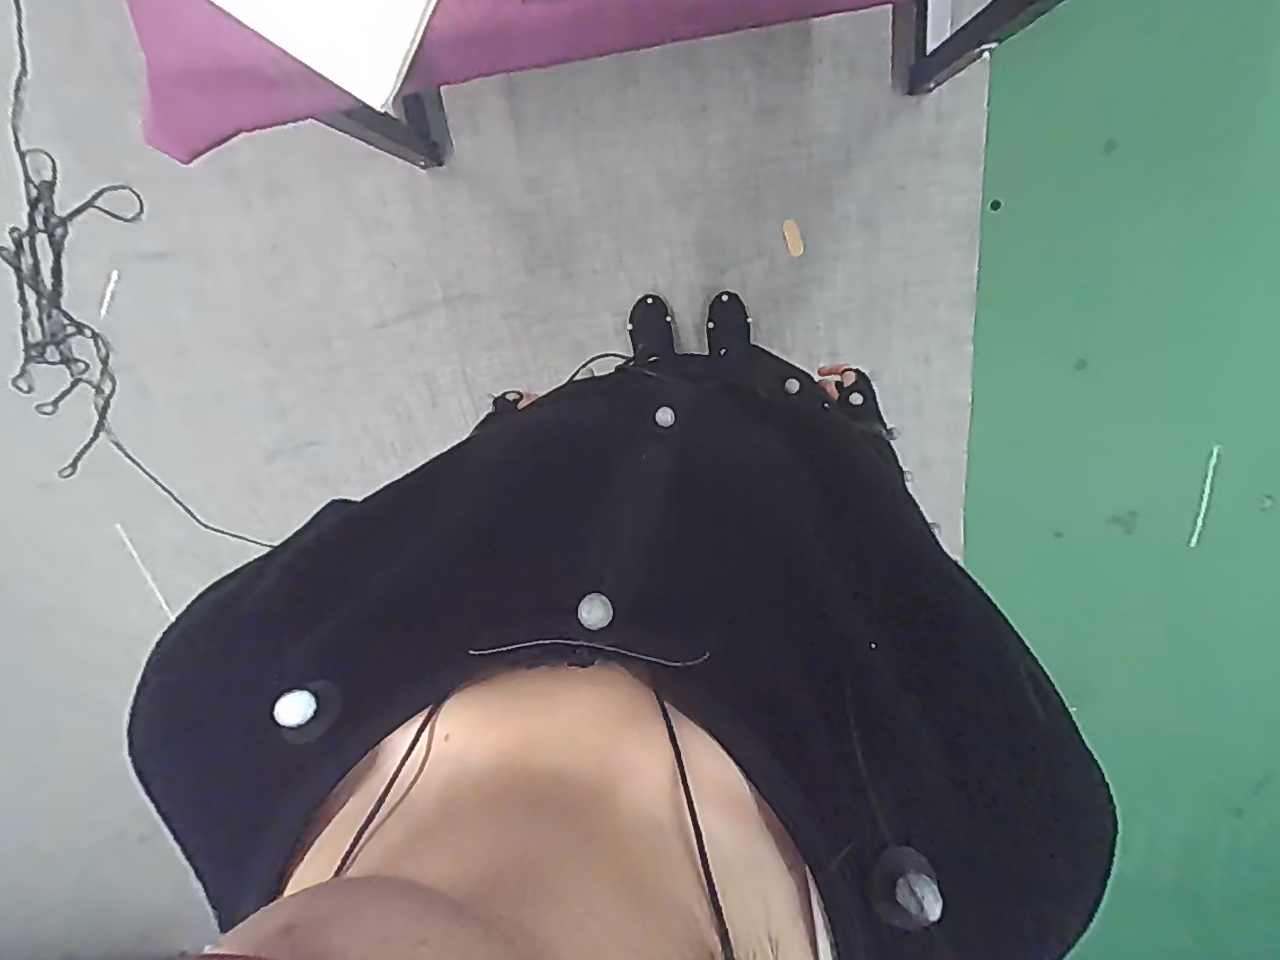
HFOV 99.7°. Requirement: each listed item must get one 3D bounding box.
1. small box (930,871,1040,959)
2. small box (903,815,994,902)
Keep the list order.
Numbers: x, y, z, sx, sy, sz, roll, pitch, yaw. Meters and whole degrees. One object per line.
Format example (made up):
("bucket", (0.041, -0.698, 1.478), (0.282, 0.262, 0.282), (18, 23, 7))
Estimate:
("small box", (0.835, 1.102, 1.314), (0.179, 0.176, 0.168), (-22, 107, 9))
("small box", (0.842, 1.045, 1.467), (0.168, 0.176, 0.179), (-20, 107, 9))
